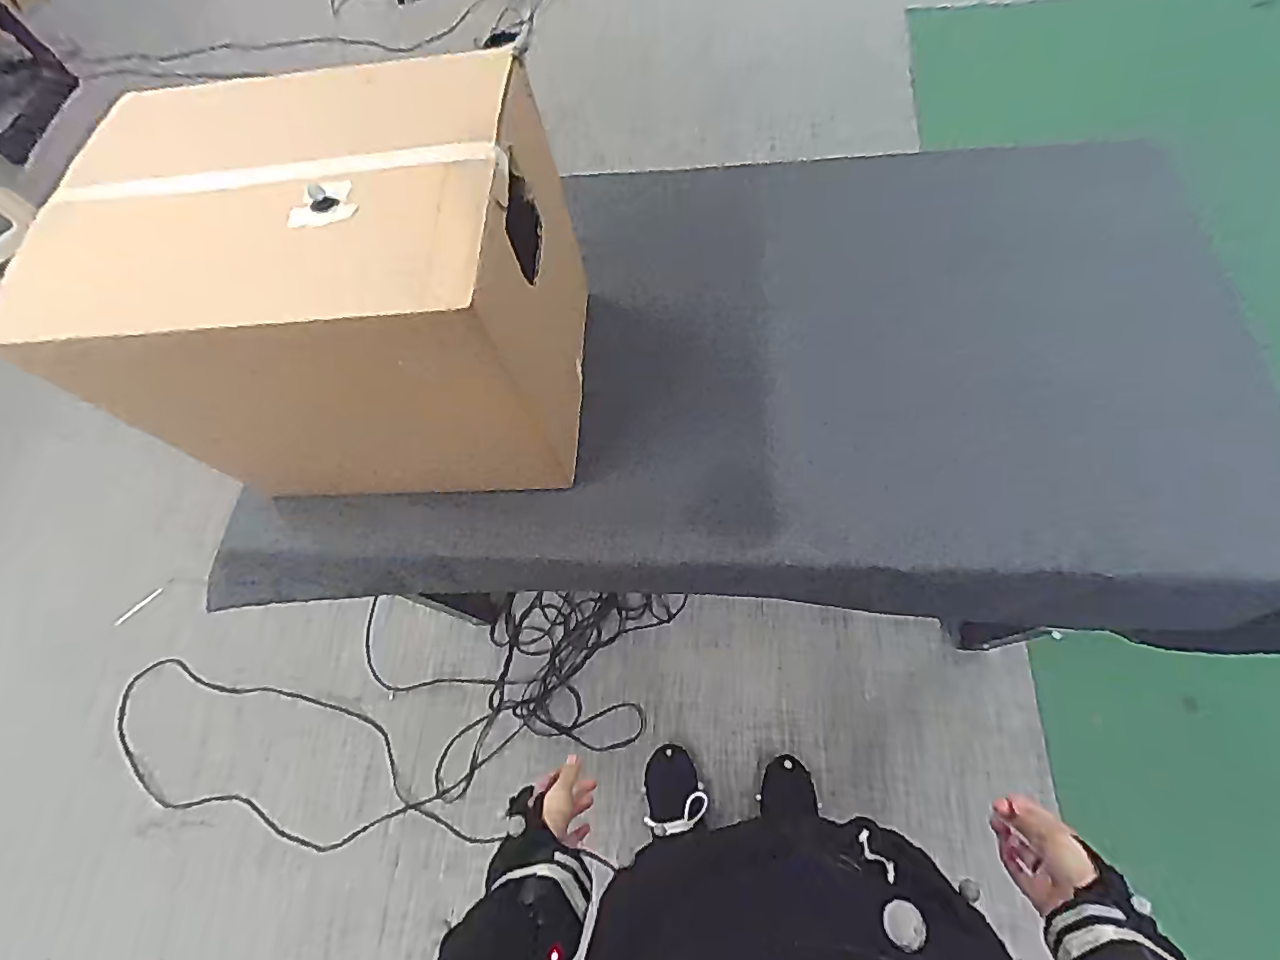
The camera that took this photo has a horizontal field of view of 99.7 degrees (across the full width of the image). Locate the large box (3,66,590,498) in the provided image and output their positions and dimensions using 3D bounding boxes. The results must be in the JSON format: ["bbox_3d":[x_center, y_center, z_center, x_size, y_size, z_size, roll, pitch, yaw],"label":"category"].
[{"bbox_3d":[-0.284,-0.185,0.599,0.408,0.320,0.320,-2,65,5],"label":"large box"}]
